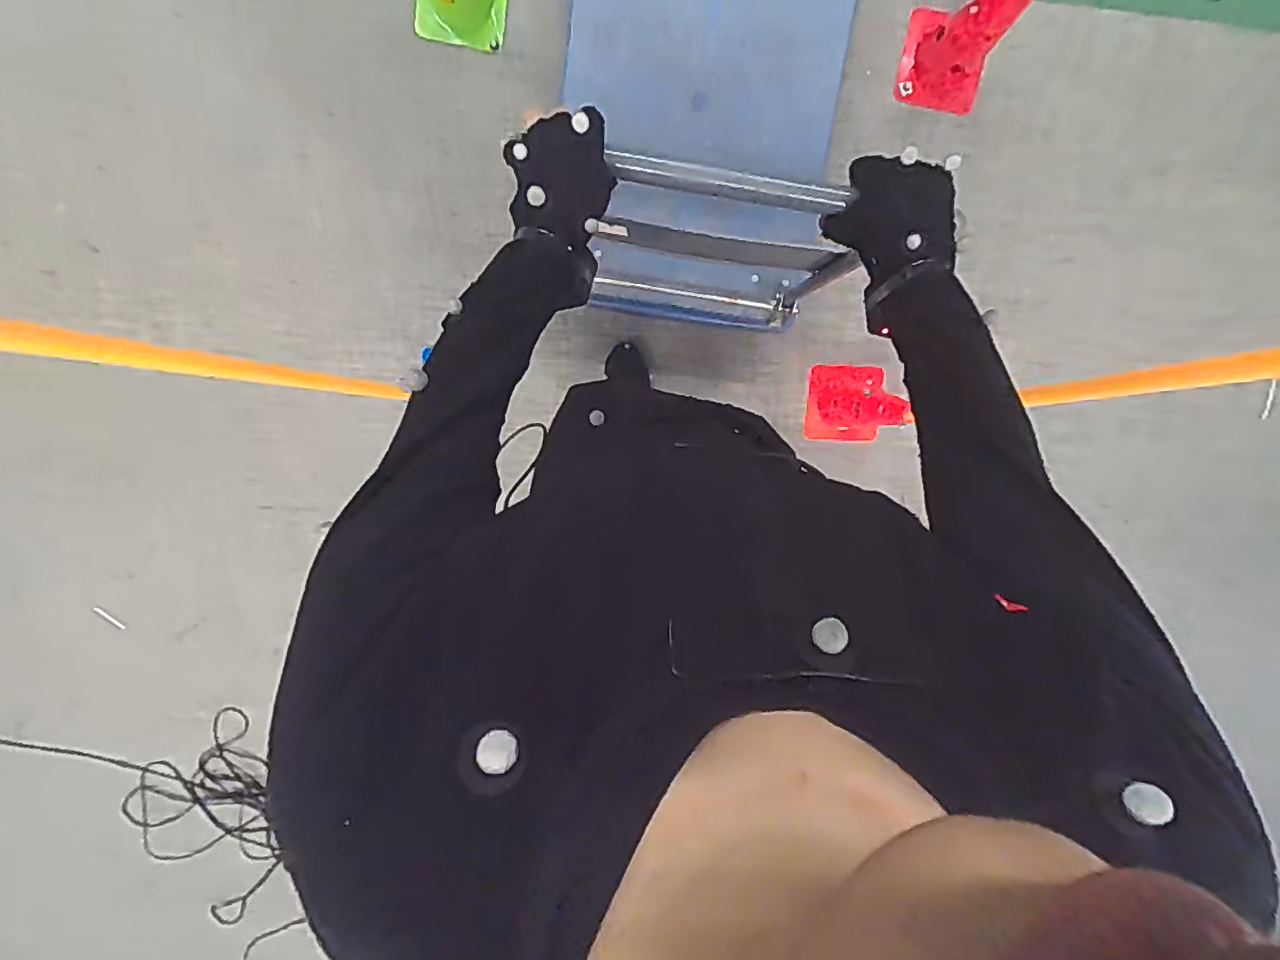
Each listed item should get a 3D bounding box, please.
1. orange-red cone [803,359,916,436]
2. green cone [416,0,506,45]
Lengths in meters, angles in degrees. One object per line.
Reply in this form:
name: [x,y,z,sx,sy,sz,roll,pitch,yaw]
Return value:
orange-red cone: [0.544,-0.186,1.281,0.199,0.360,0.198,4,101,-1]
green cone: [-0.399,-1.081,1.058,0.202,0.368,0.200,8,100,-3]
